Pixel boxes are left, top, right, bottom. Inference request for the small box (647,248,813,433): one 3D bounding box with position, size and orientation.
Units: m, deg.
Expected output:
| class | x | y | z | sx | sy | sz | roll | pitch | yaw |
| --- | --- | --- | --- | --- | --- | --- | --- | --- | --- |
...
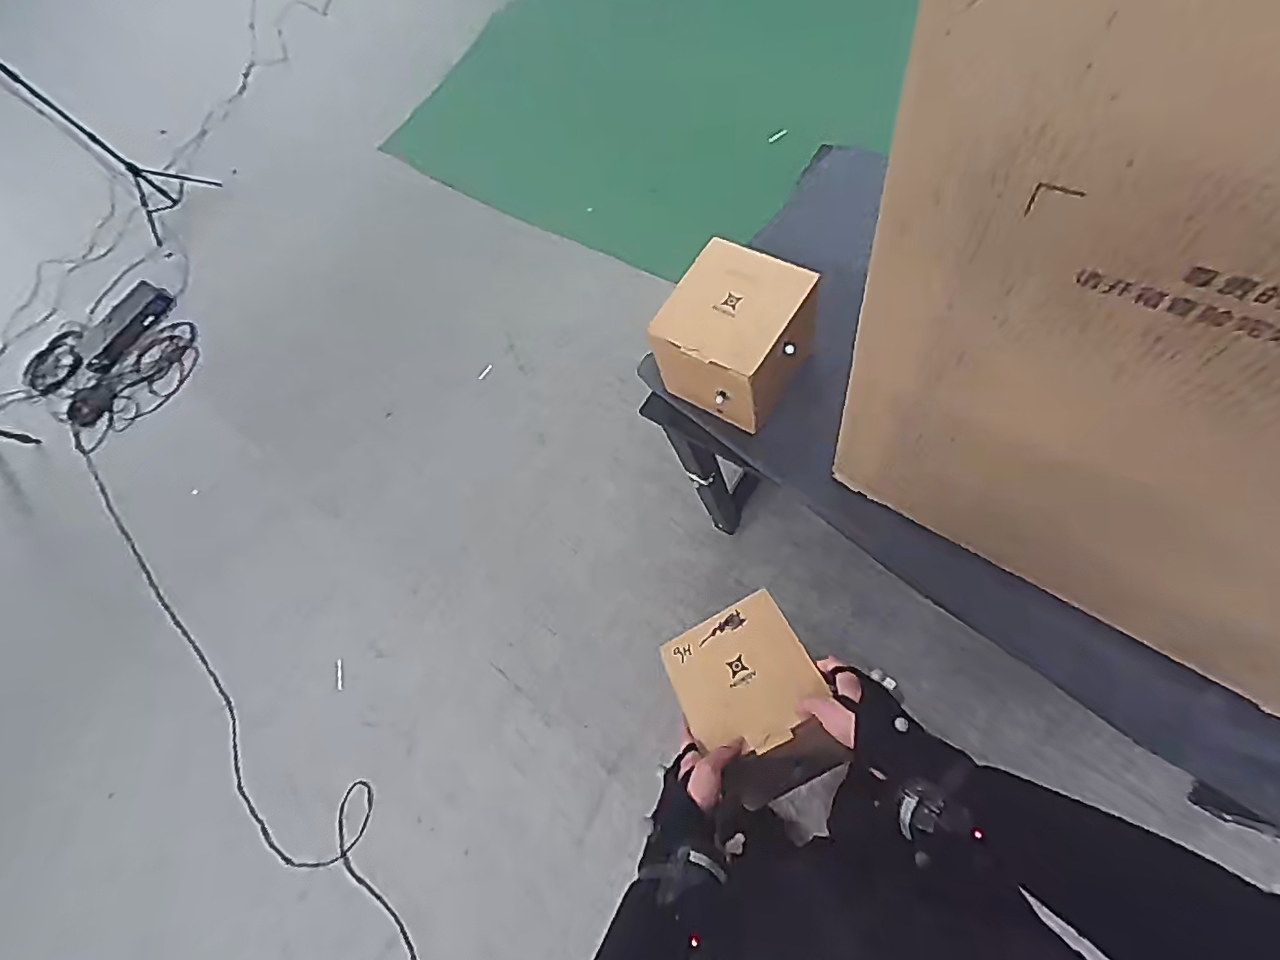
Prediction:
| class | x | y | z | sx | sy | sz | roll | pitch | yaw |
| --- | --- | --- | --- | --- | --- | --- | --- | --- | --- |
| small box | 0.138 | -0.198 | 0.801 | 0.168 | 0.176 | 0.179 | 30 | 77 | 22 |
